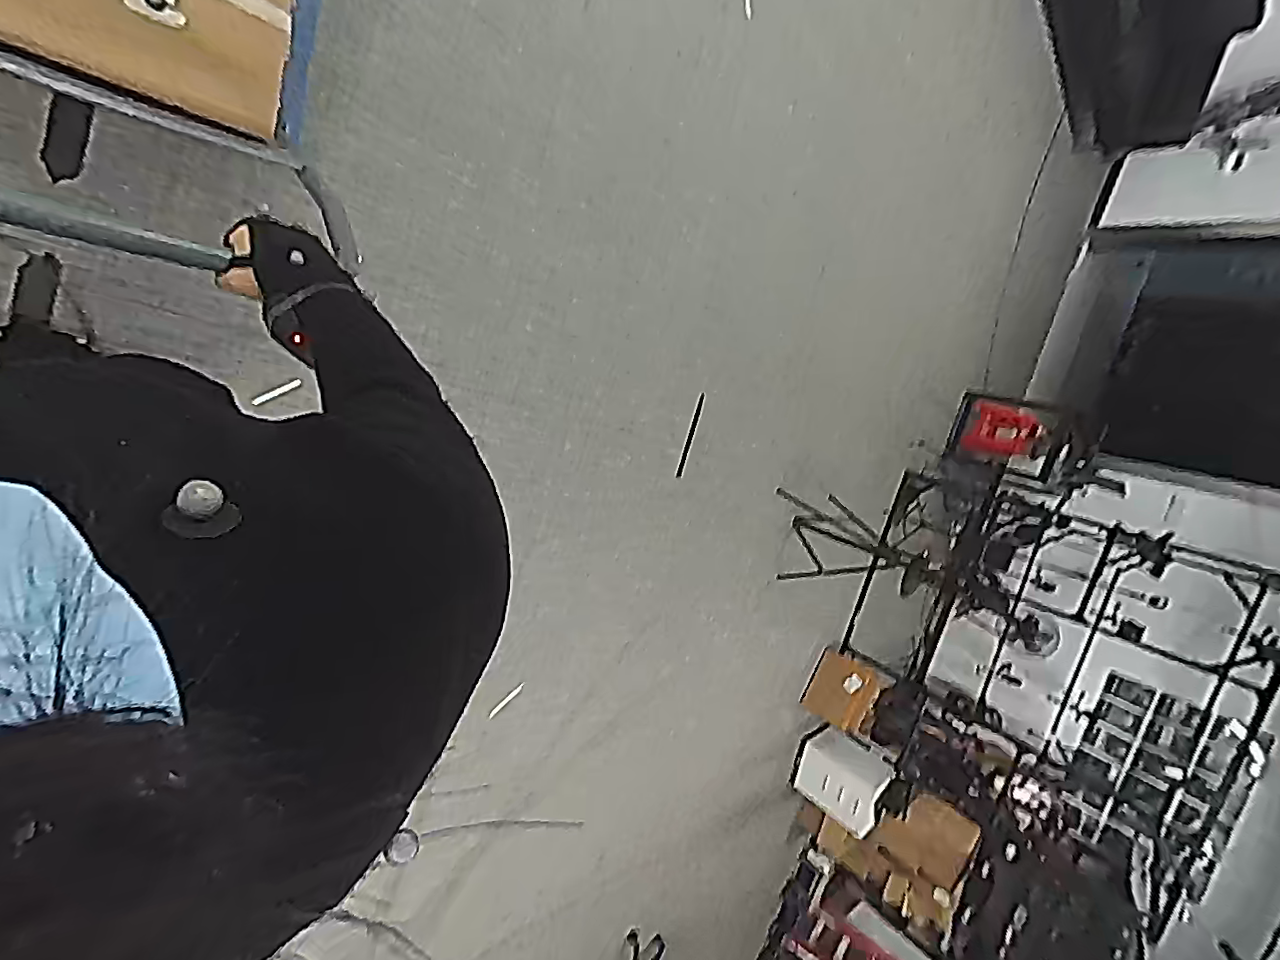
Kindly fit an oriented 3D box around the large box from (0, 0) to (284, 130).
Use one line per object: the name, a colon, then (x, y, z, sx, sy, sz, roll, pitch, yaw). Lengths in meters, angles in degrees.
large box: (-0.726, -0.727, 0.697, 0.408, 0.320, 0.320, 1, 123, -46)
